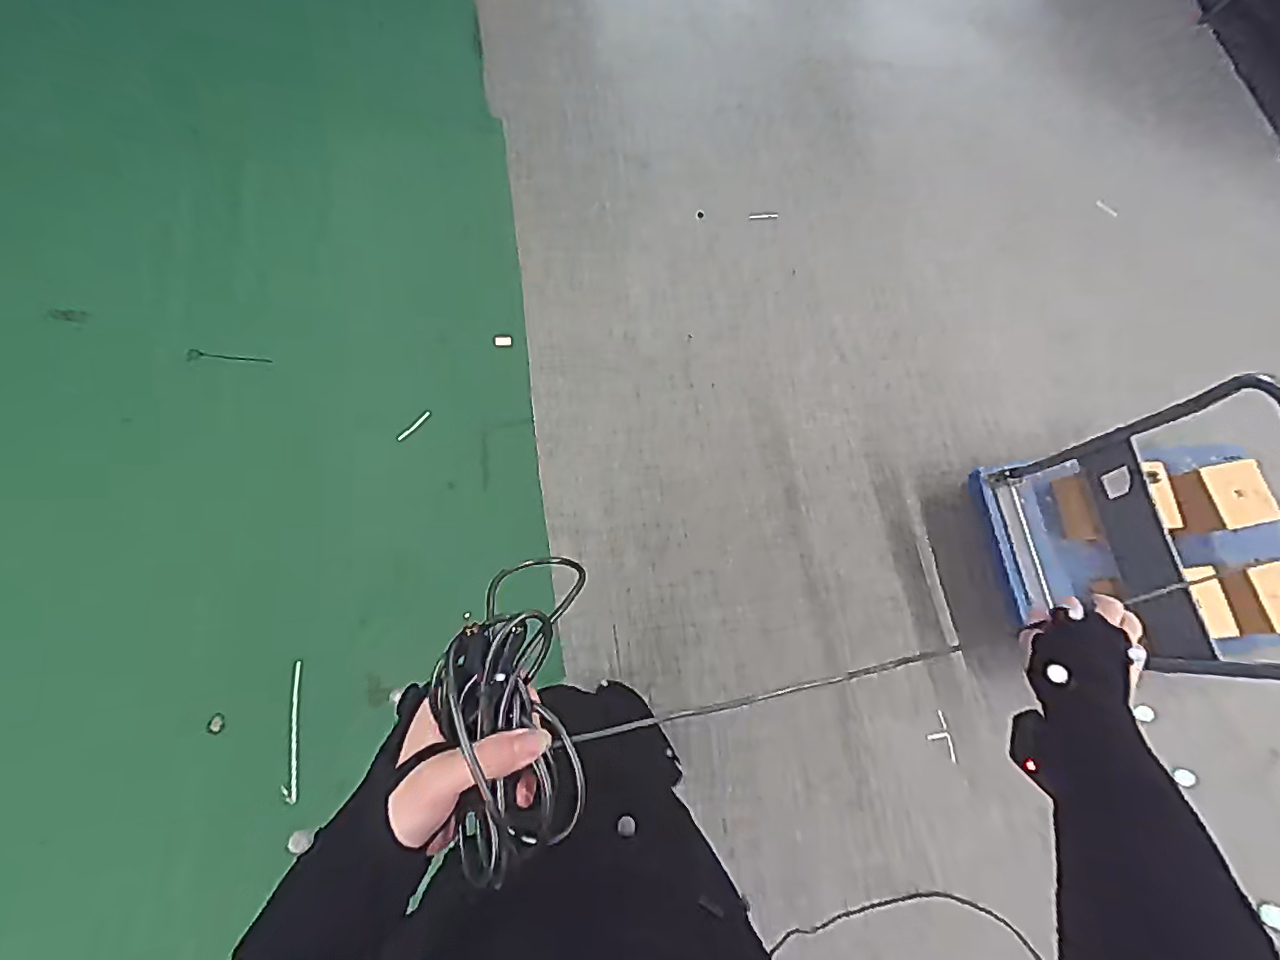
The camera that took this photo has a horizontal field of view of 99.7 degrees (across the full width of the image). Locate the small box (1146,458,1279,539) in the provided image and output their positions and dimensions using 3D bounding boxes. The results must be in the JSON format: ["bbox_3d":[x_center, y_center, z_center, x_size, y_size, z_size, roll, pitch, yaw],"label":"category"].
[{"bbox_3d":[1.521,0.055,1.449,0.179,0.176,0.168,-9,74,-8],"label":"small box"}]

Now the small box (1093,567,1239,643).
[{"bbox_3d":[1.300,0.314,1.349,0.179,0.176,0.168,-5,73,-6],"label":"small box"}]

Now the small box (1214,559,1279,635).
[{"bbox_3d":[1.563,0.297,1.377,0.179,0.176,0.168,-7,73,-7],"label":"small box"}]
